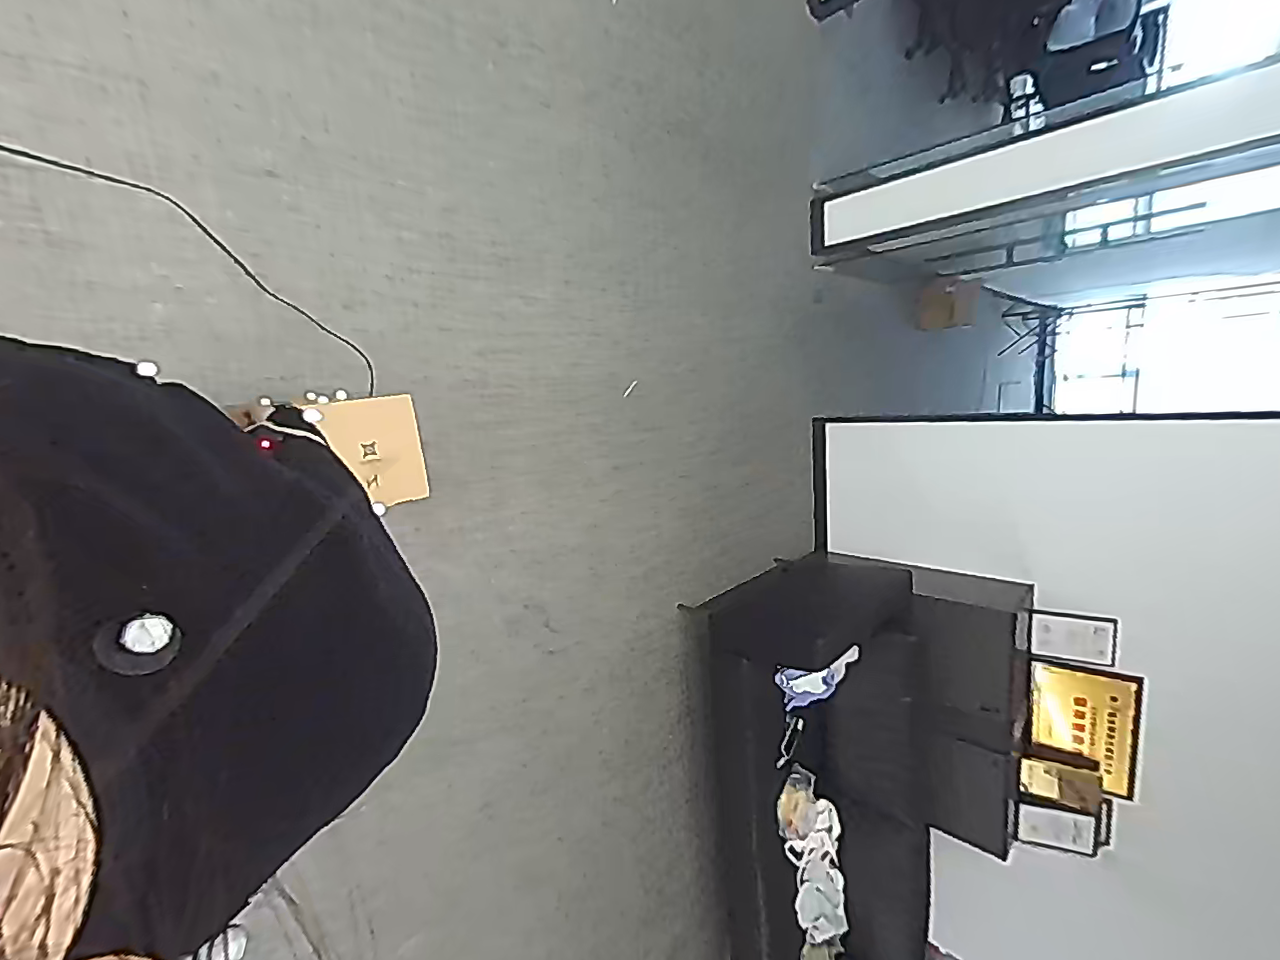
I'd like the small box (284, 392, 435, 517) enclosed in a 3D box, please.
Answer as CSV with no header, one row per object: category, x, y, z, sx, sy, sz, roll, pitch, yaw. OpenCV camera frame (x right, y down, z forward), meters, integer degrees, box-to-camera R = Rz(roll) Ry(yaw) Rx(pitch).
small box,-0.469,-0.048,0.901,0.168,0.176,0.179,-16,105,-42

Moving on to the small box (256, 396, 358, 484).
small box,-0.687,-0.079,1.145,0.168,0.176,0.179,-18,107,-42

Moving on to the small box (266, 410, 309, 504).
small box,-0.581,-0.058,1.022,0.179,0.176,0.168,-18,107,-43
